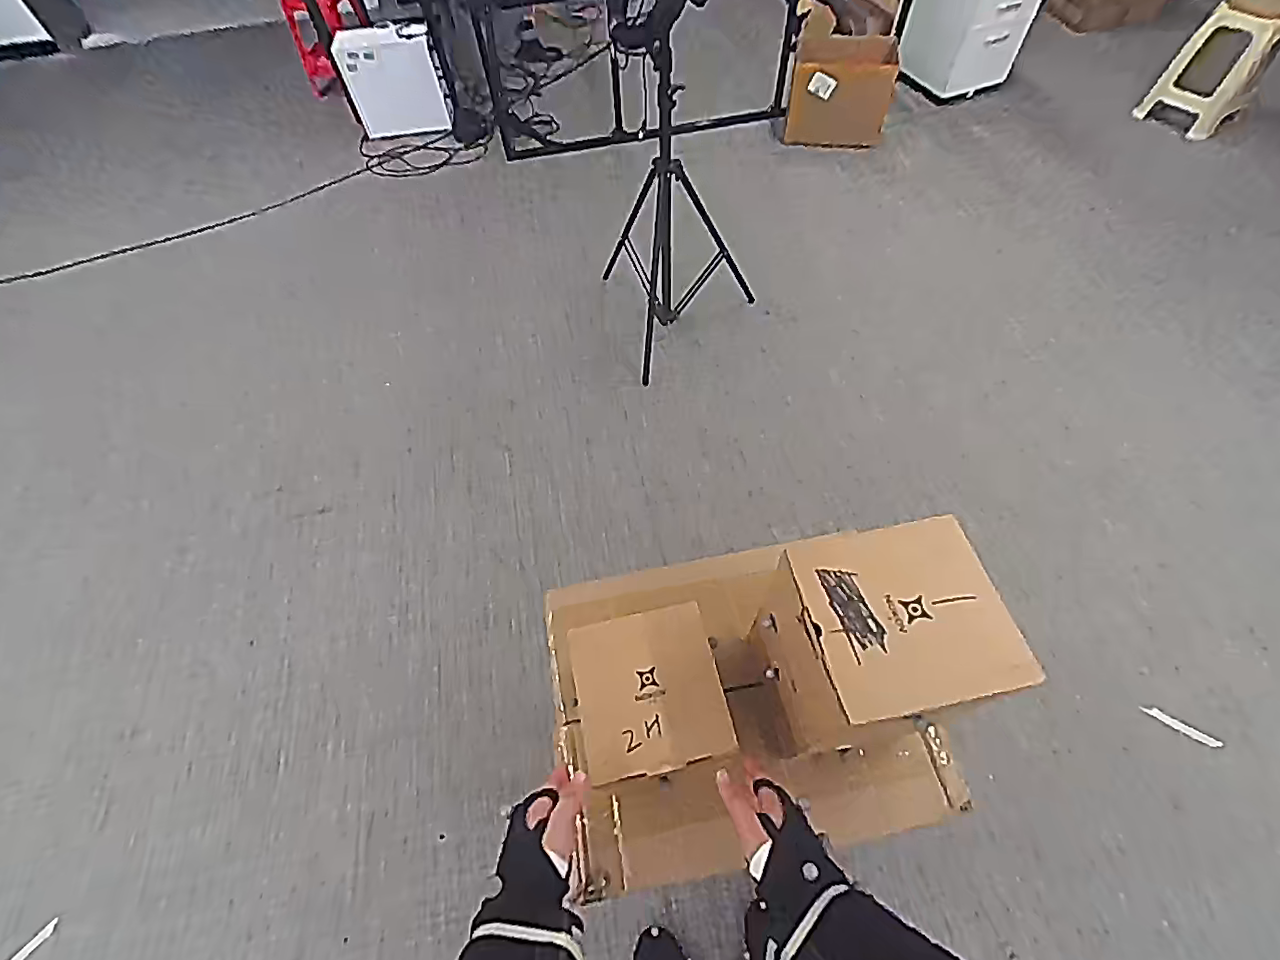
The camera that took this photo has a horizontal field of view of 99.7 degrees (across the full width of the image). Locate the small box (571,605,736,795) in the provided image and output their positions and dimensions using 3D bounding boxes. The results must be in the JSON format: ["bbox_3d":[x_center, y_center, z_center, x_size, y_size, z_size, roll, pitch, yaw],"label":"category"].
[{"bbox_3d":[0.011,0.285,0.693,0.168,0.176,0.179,-11,58,-5],"label":"small box"}]

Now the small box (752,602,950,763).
[{"bbox_3d":[0.253,0.252,0.703,0.168,0.176,0.179,-12,59,-2],"label":"small box"}]

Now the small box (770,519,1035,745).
[{"bbox_3d":[0.243,0.164,0.563,0.179,0.176,0.168,-12,58,-2],"label":"small box"}]
